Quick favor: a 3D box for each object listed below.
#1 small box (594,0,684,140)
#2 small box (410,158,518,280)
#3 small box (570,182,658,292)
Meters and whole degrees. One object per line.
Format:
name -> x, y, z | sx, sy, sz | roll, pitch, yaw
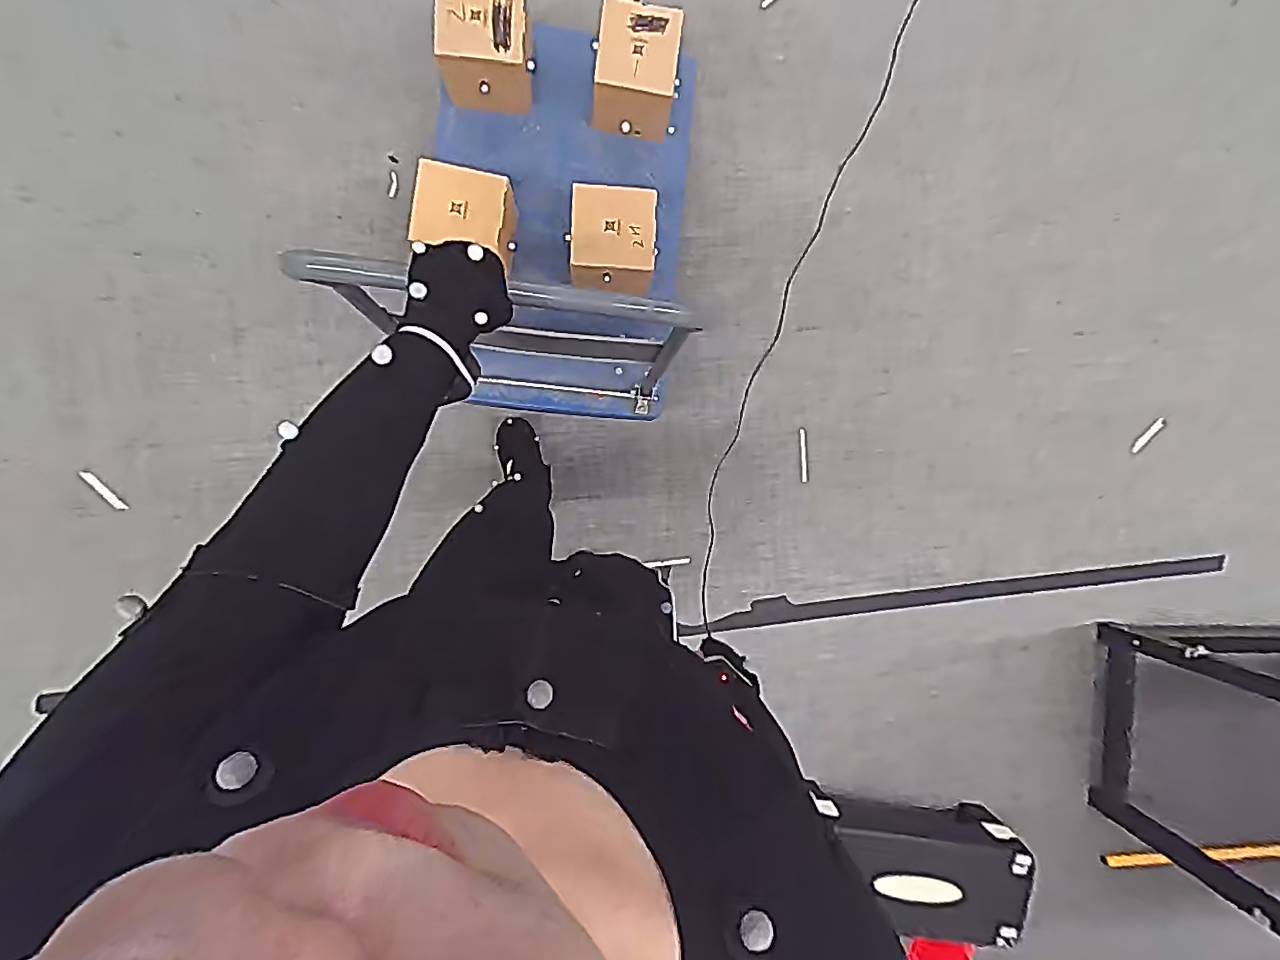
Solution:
small box -> -0.009, -0.886, 1.174 | 0.168, 0.176, 0.179 | 7, 93, -6
small box -> -0.367, -0.544, 1.152 | 0.179, 0.176, 0.168 | 8, 91, -8
small box -> -0.060, -0.522, 1.183 | 0.179, 0.176, 0.168 | 2, 92, -6
